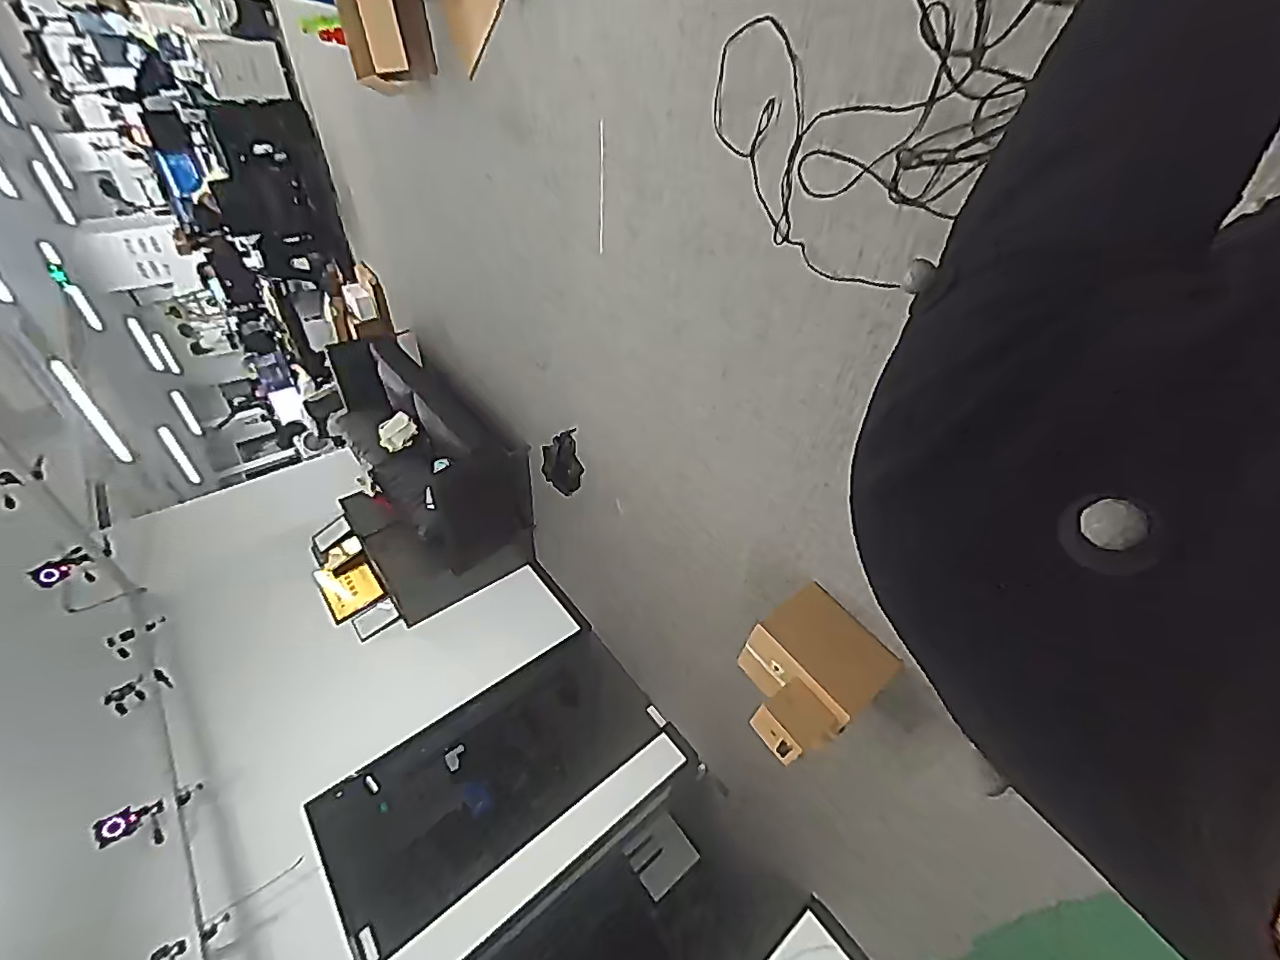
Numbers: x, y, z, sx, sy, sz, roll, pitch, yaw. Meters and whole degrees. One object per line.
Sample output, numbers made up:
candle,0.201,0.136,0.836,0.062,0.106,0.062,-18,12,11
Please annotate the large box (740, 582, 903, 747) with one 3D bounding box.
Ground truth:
large box,0.639,0.654,1.946,0.408,0.320,0.320,46,145,30
